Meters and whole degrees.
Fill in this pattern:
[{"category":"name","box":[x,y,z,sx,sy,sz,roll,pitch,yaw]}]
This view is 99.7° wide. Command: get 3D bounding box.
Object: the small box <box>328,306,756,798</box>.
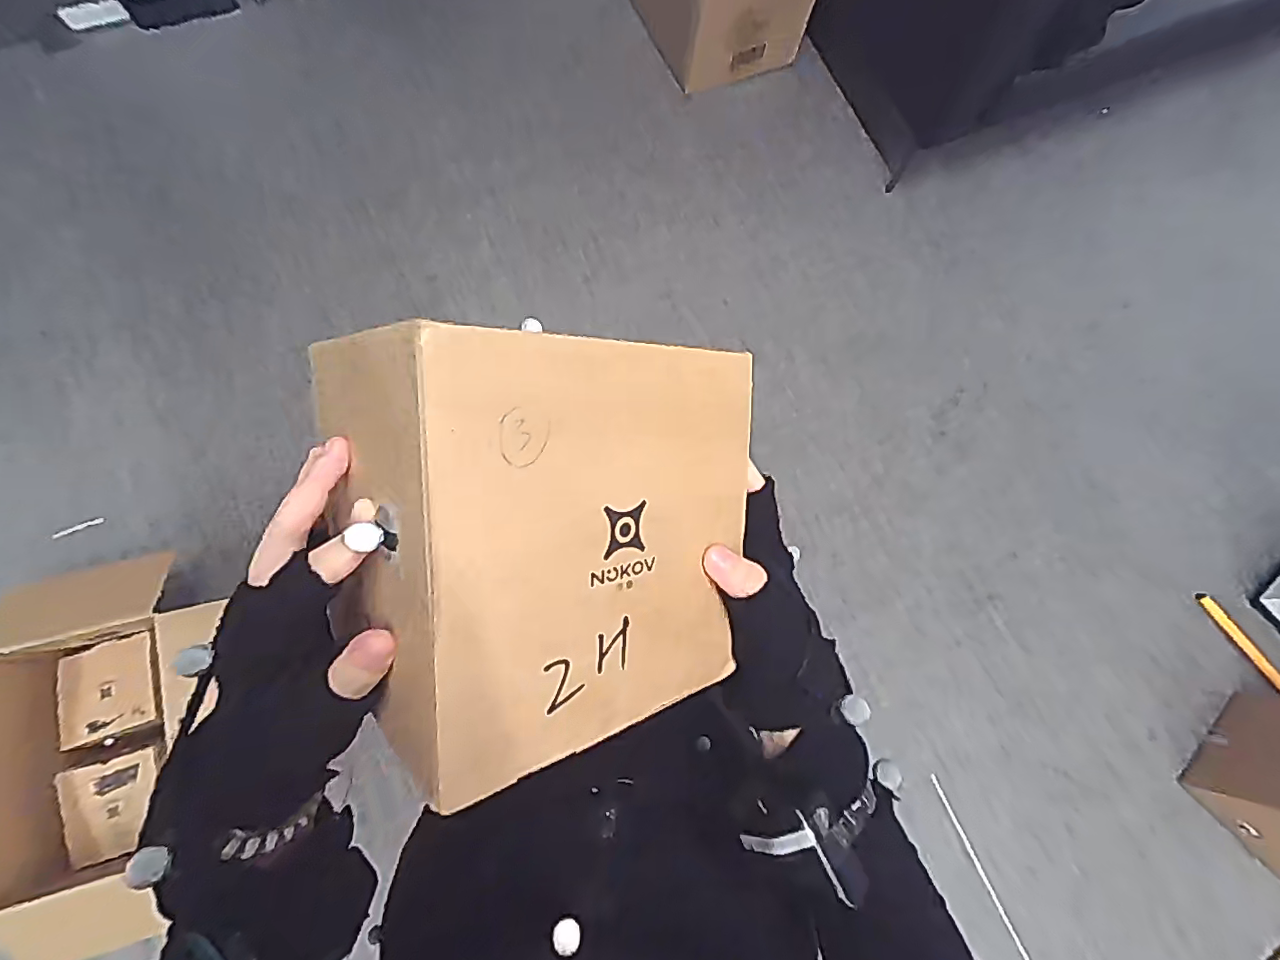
[{"category":"small box","box":[-0.057,0.016,0.293,0.168,0.176,0.179,-5,101,-41]}]
